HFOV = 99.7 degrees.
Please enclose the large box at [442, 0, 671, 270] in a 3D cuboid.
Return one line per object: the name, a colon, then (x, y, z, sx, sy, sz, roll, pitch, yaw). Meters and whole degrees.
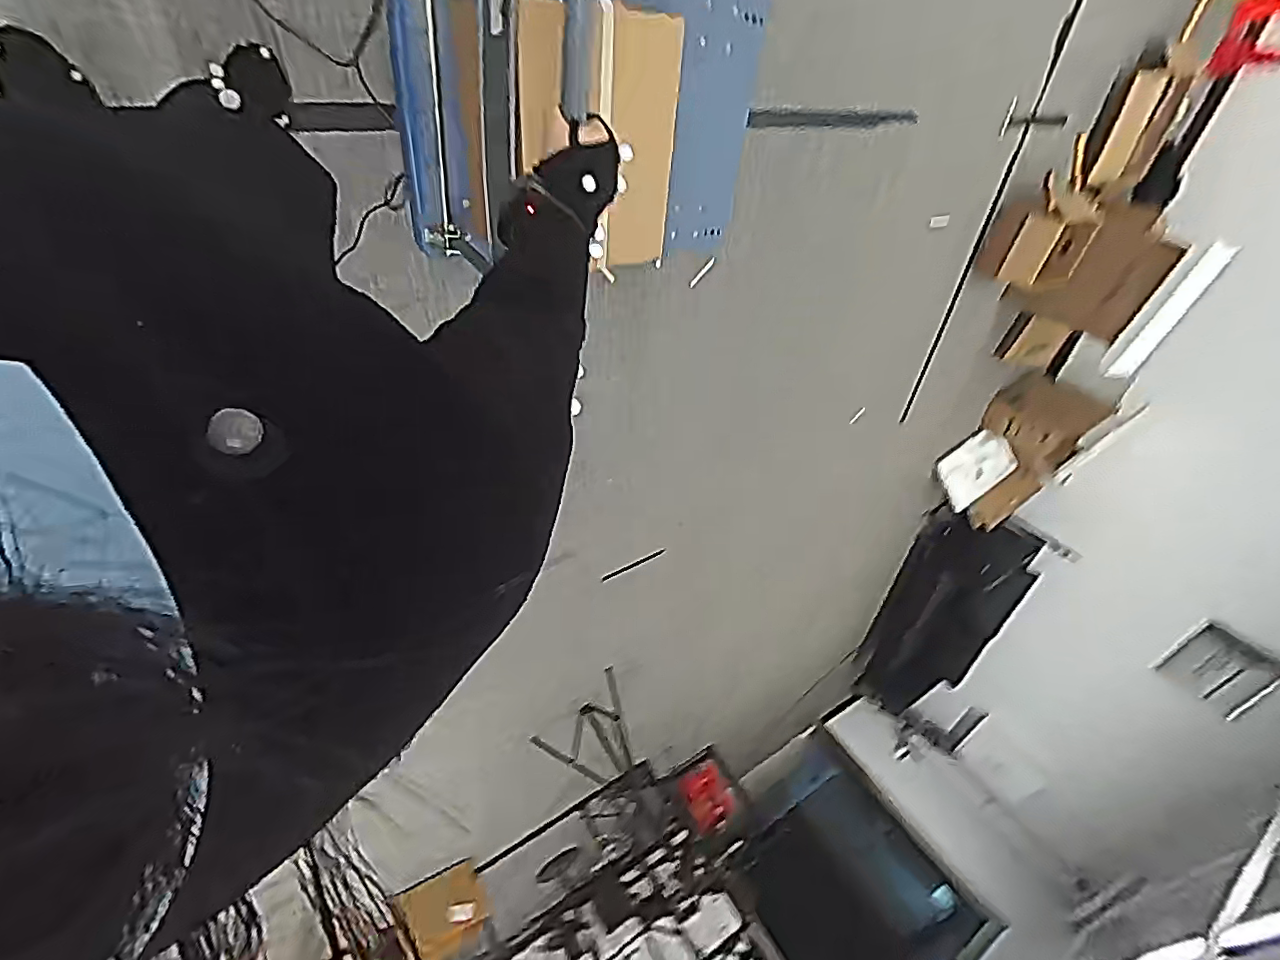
large box: (-0.168, -0.687, 1.077, 0.320, 0.320, 0.408, -19, 136, -27)
